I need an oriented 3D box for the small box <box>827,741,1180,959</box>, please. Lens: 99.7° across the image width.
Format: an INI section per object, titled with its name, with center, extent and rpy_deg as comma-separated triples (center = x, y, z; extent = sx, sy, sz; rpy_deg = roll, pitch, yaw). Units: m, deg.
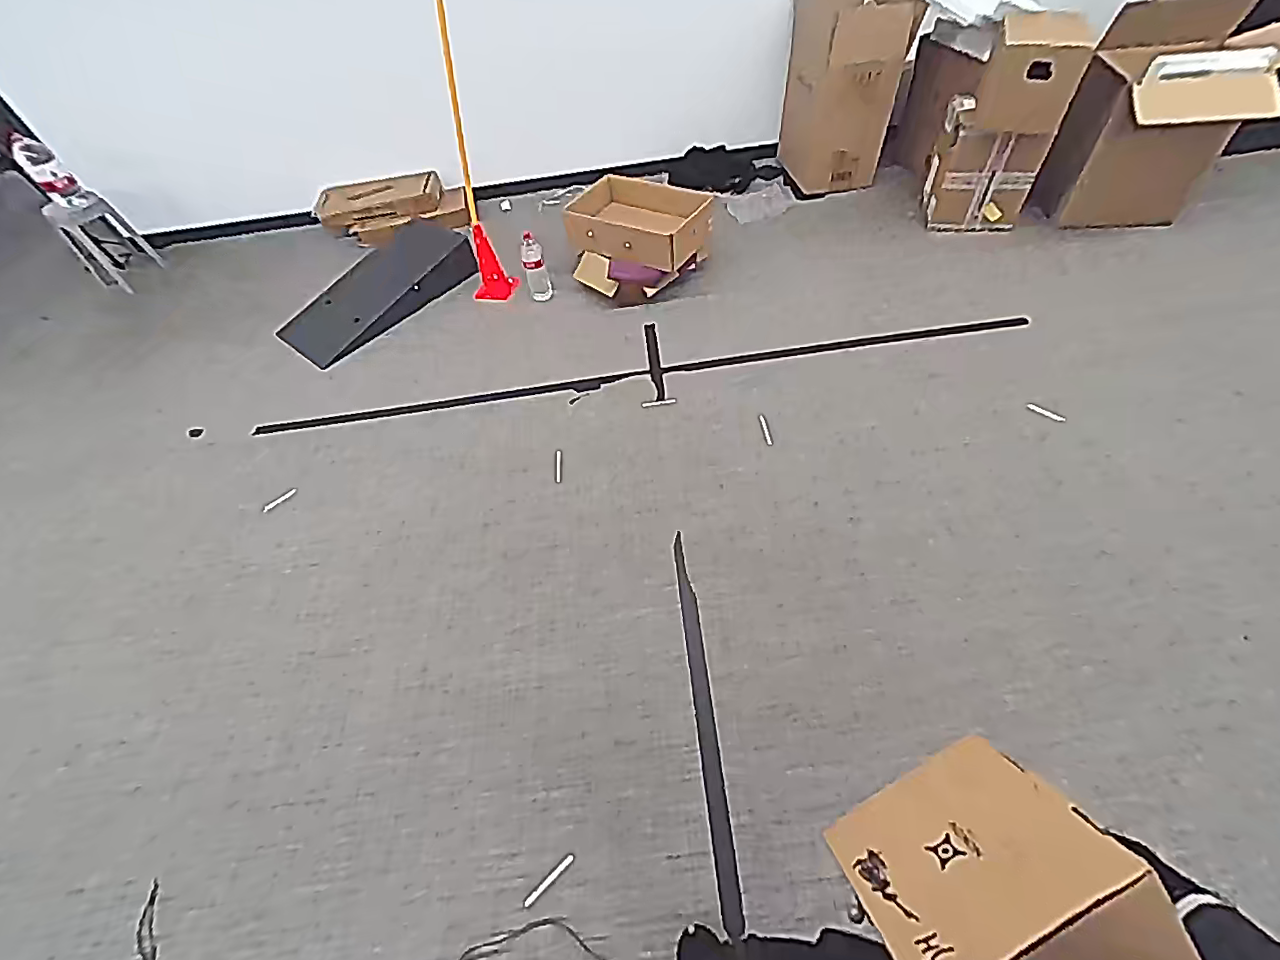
[small box]
center = 0.296, 0.369, 0.446
extent = 0.179, 0.168, 0.176
rpy_deg = -31, 95, -2
